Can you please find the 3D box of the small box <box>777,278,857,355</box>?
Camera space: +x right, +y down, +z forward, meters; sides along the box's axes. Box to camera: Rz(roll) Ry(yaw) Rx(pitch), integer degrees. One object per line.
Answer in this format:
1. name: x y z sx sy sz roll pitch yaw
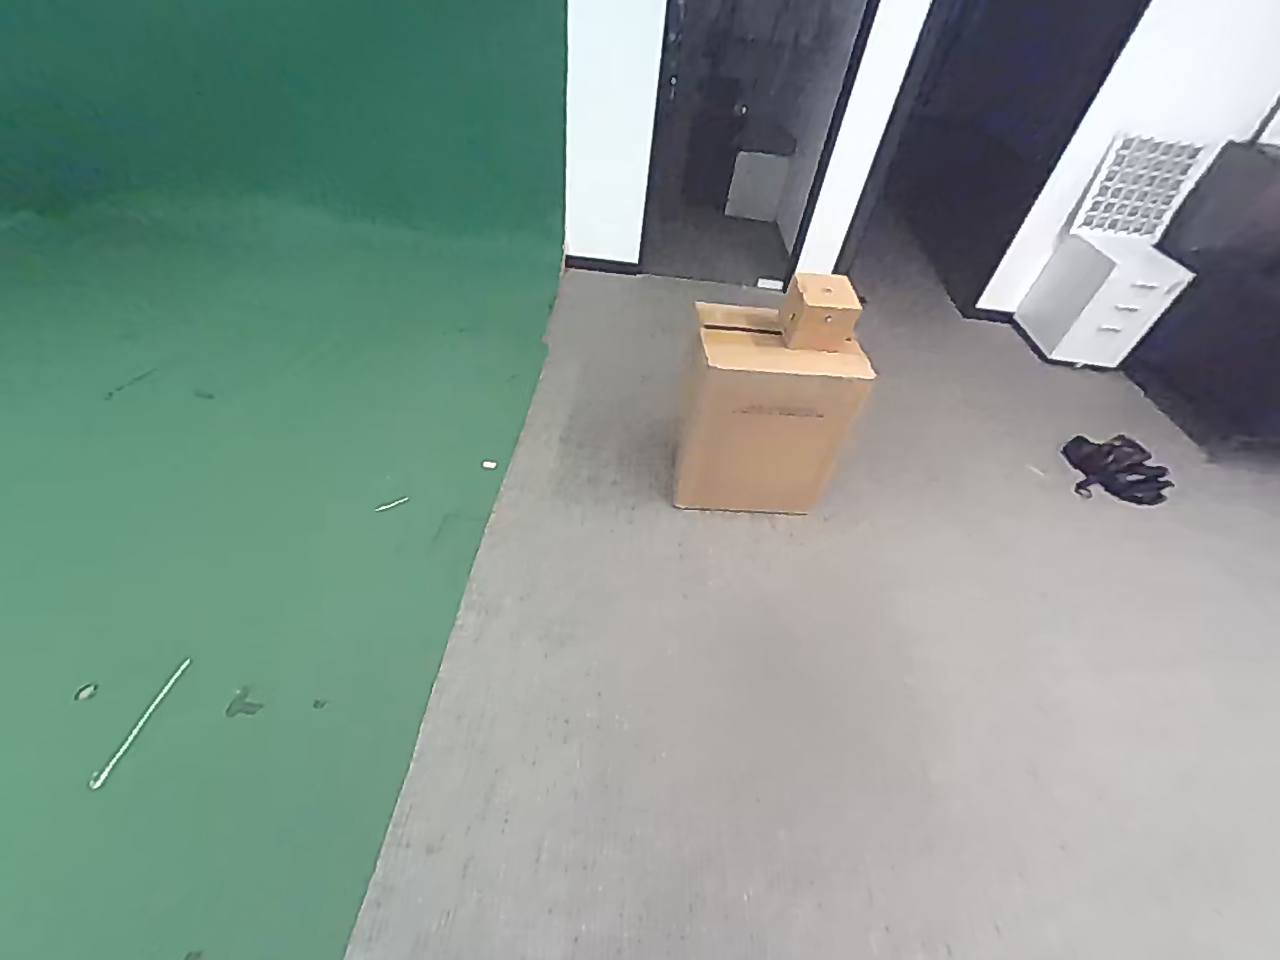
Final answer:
1. small box: 0.543 -0.509 1.696 0.179 0.176 0.168 2 54 -10
